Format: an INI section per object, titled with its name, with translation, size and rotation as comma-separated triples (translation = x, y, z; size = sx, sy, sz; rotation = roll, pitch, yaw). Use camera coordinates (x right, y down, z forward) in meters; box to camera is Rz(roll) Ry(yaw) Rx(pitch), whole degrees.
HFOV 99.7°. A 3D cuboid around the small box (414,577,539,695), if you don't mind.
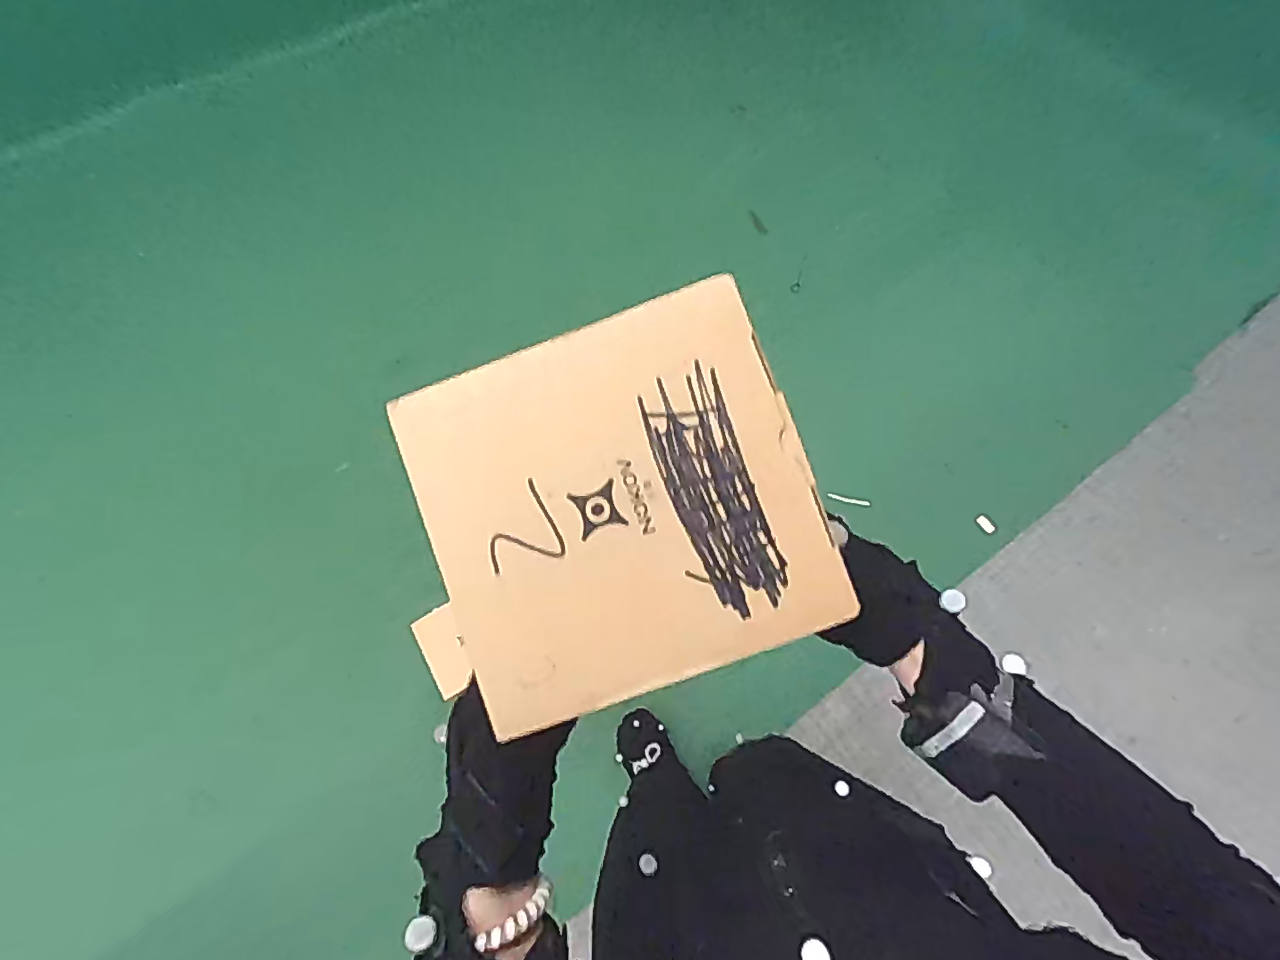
[small box]
translation = -0.331, 0.330, 1.125
size = 0.179, 0.176, 0.168
rotation = -29, 71, -11
